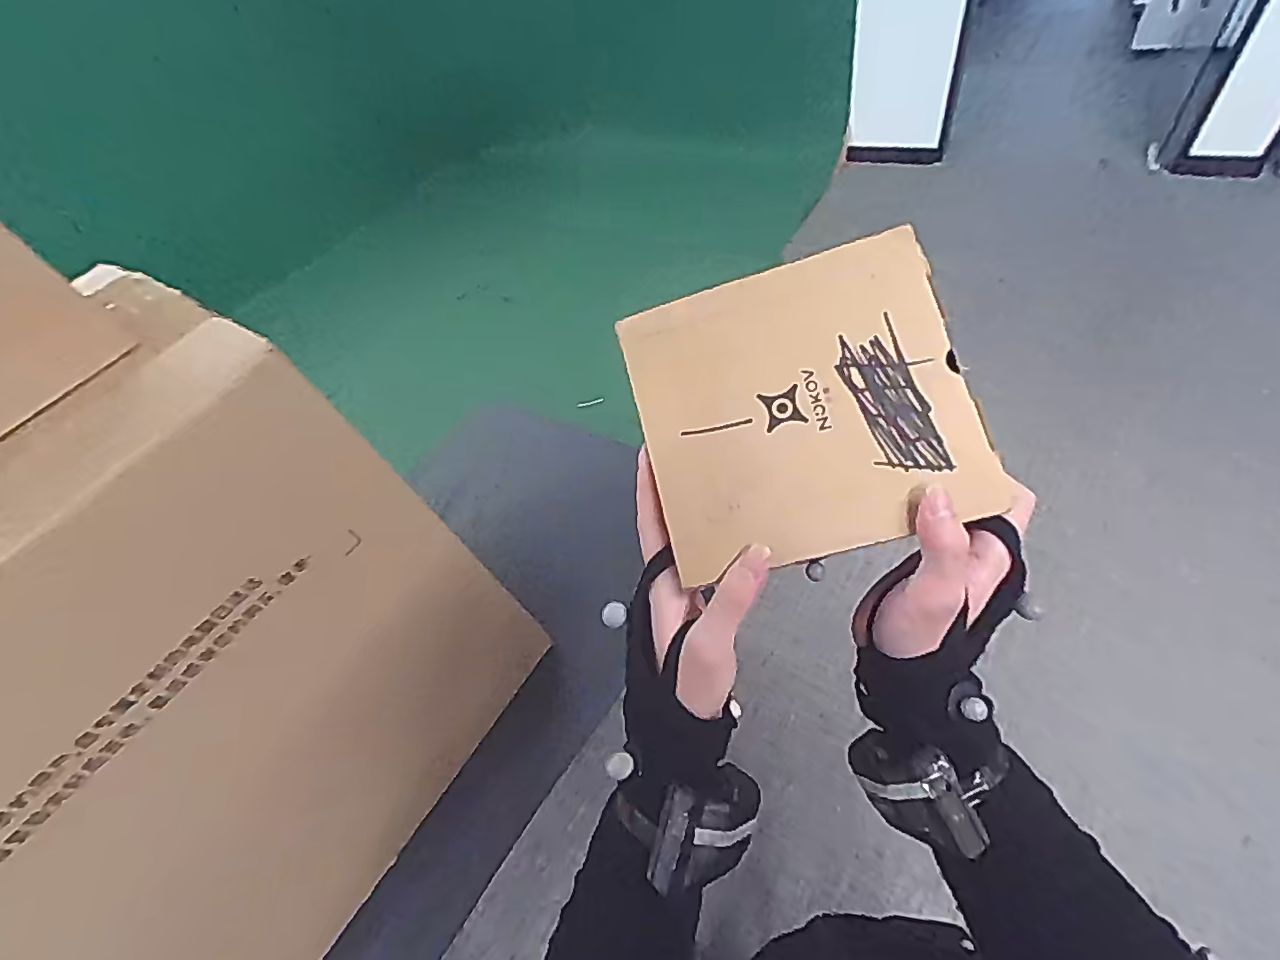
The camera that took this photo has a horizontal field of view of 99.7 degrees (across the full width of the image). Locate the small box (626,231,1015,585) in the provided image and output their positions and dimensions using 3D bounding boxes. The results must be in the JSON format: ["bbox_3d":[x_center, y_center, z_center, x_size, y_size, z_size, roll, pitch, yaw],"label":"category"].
[{"bbox_3d":[0.106,-0.030,0.377,0.179,0.176,0.168,-16,78,9],"label":"small box"}]

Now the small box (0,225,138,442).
[{"bbox_3d":[-0.521,-0.121,0.369,0.168,0.176,0.179,26,65,26],"label":"small box"}]
